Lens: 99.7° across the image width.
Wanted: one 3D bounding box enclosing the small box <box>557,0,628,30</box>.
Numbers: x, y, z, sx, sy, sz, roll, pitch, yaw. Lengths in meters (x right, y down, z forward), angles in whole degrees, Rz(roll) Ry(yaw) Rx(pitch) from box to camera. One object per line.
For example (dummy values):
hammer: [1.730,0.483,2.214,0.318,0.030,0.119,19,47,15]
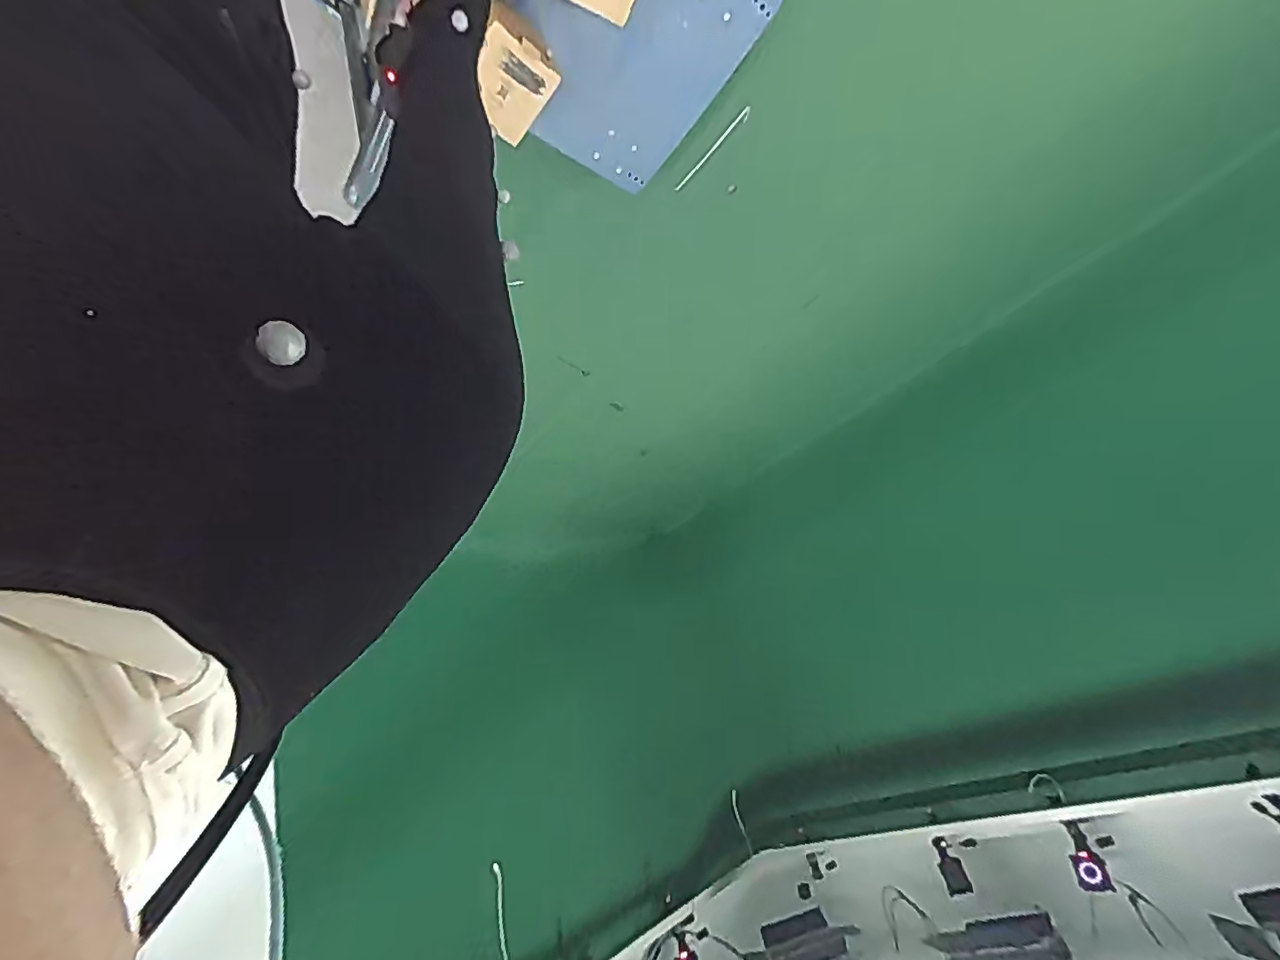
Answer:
small box: [-0.106,-0.999,1.000,0.179,0.176,0.168,-2,150,-34]
